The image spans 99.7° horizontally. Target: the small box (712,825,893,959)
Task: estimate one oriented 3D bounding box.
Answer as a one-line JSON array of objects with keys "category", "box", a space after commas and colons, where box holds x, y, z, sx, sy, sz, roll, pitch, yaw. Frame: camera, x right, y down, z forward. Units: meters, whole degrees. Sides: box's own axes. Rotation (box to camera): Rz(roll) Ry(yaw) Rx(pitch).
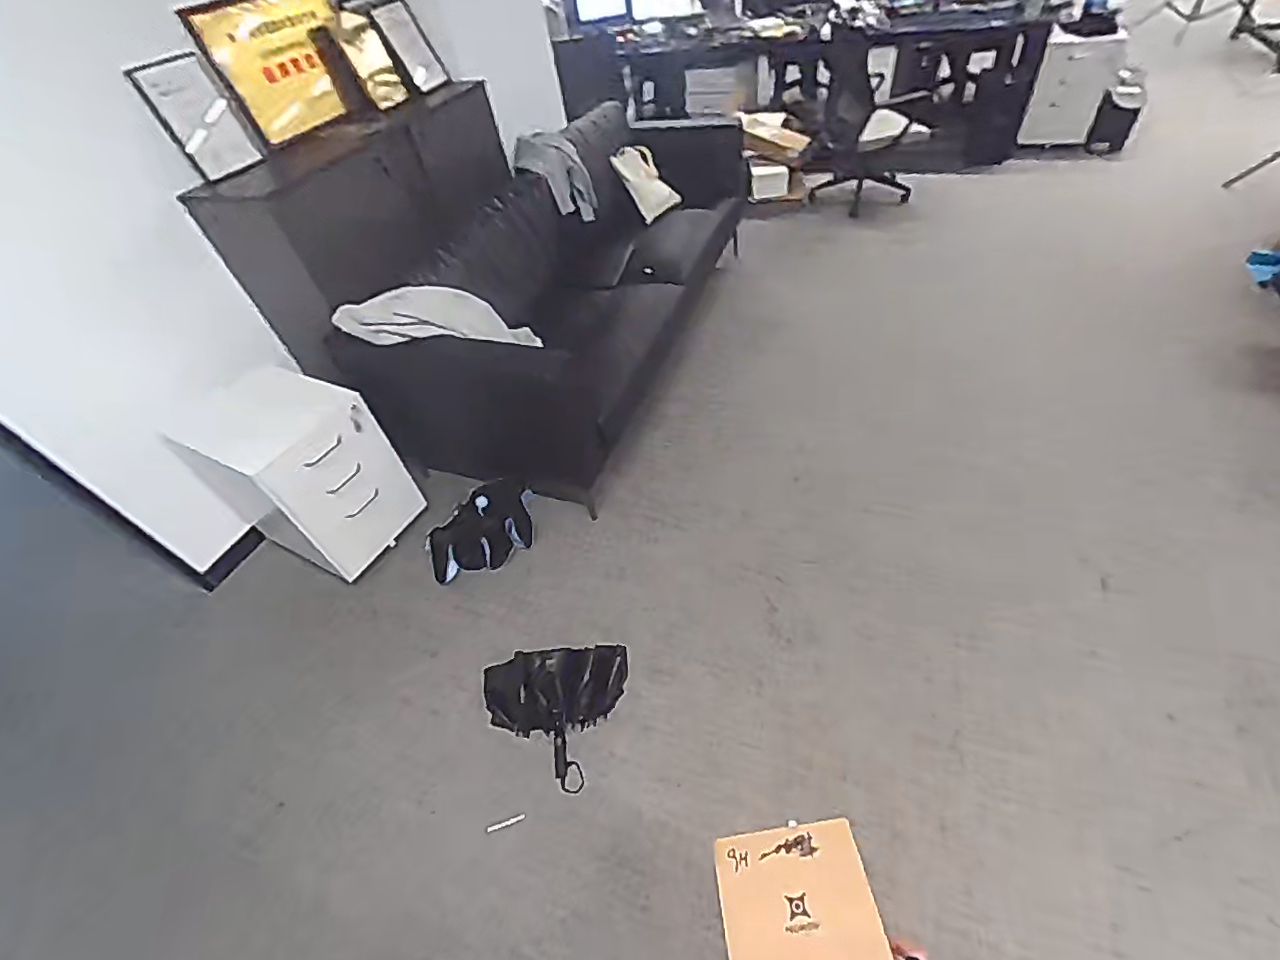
[{"category": "small box", "box": [0.187, 0.526, 0.604, 0.168, 0.176, 0.179, -13, 34, 6]}]
